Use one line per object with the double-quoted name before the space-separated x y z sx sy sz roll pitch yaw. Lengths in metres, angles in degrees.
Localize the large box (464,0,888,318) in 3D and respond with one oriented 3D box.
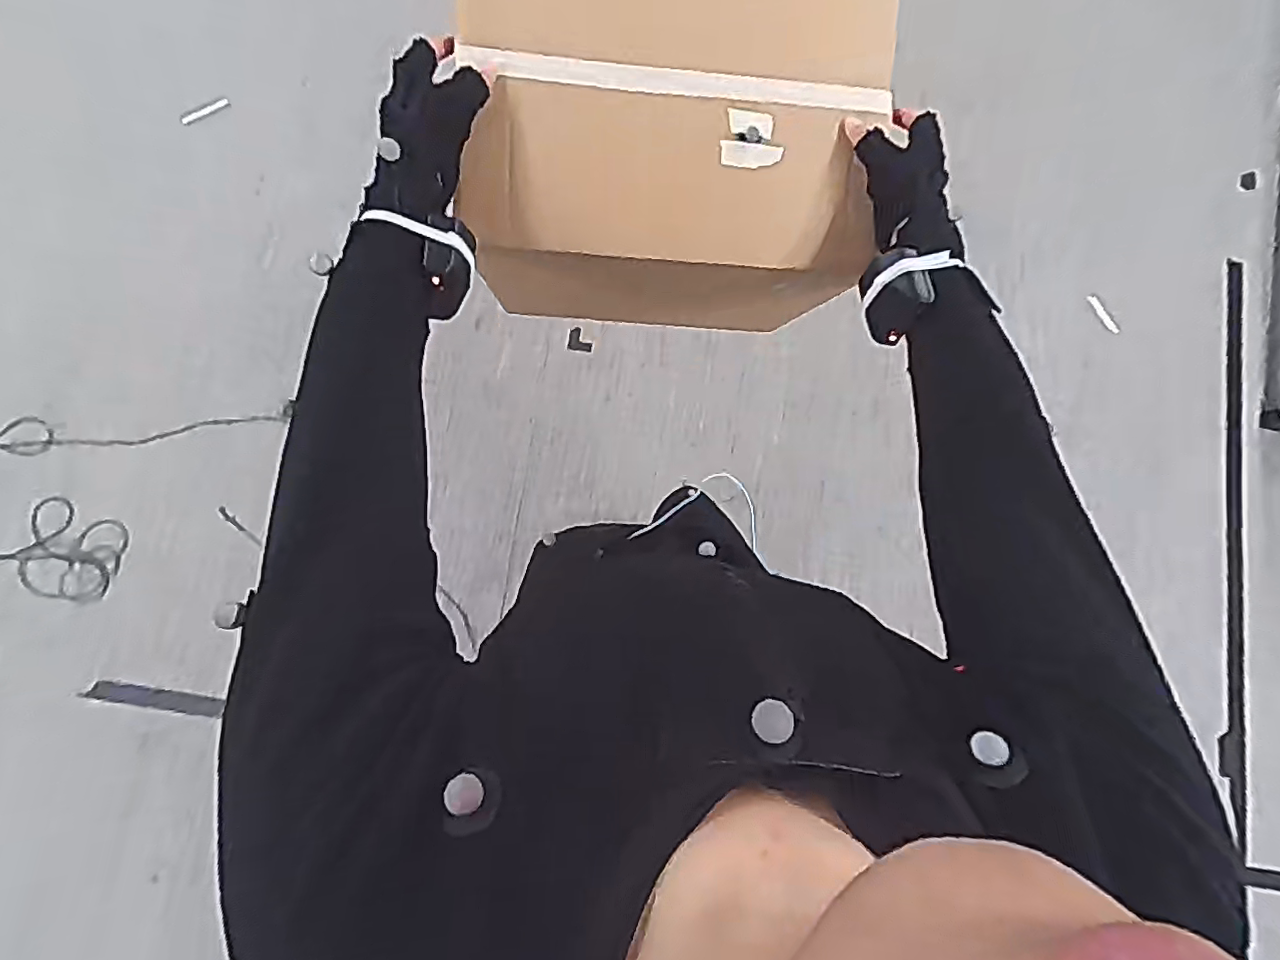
"large box" 0.022 -0.391 0.655 0.408 0.320 0.320 2 96 -6
